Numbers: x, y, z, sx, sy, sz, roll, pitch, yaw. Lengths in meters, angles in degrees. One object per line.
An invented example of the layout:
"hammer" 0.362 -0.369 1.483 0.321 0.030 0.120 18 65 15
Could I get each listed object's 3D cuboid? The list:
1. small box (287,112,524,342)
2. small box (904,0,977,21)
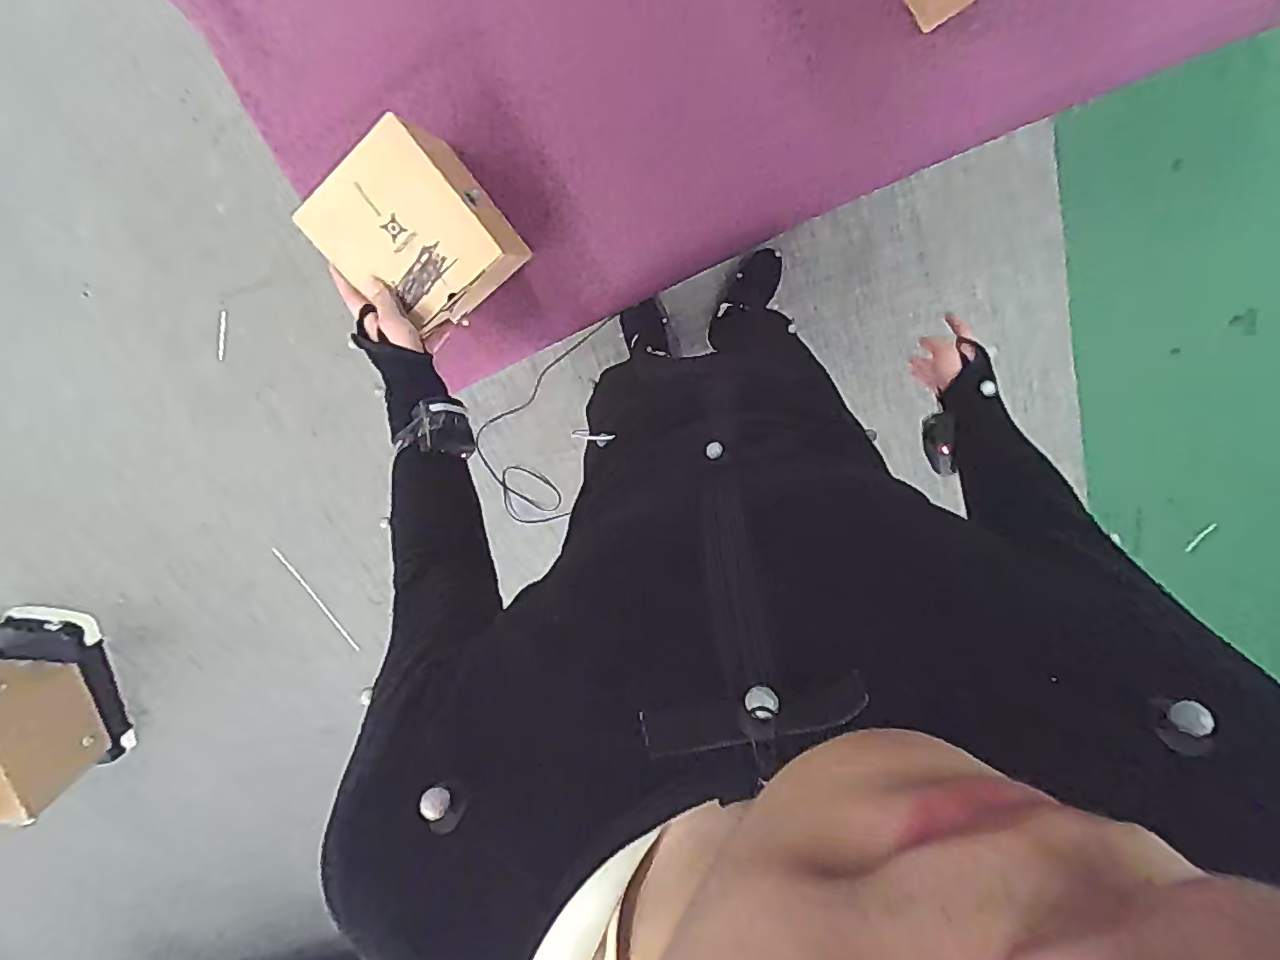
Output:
"small box" -0.269 -0.301 0.668 0.168 0.176 0.179 -36 107 14
"small box" 0.348 -0.612 0.538 0.168 0.176 0.179 -41 108 17
